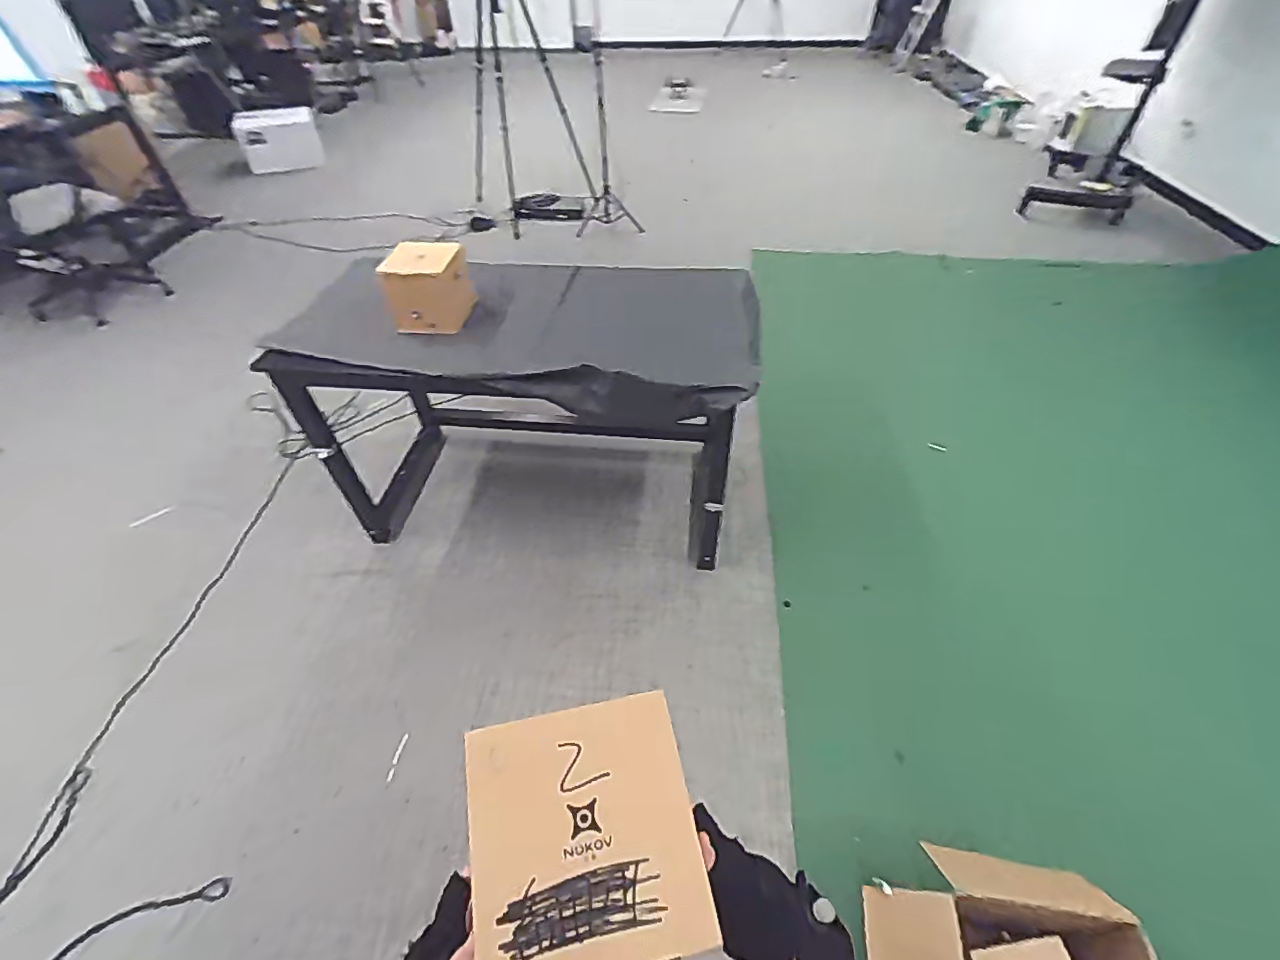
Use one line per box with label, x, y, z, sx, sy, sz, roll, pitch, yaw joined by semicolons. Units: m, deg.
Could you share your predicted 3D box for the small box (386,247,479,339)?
small box;-0.539;-0.497;1.435;0.168;0.176;0.179;3;47;3
